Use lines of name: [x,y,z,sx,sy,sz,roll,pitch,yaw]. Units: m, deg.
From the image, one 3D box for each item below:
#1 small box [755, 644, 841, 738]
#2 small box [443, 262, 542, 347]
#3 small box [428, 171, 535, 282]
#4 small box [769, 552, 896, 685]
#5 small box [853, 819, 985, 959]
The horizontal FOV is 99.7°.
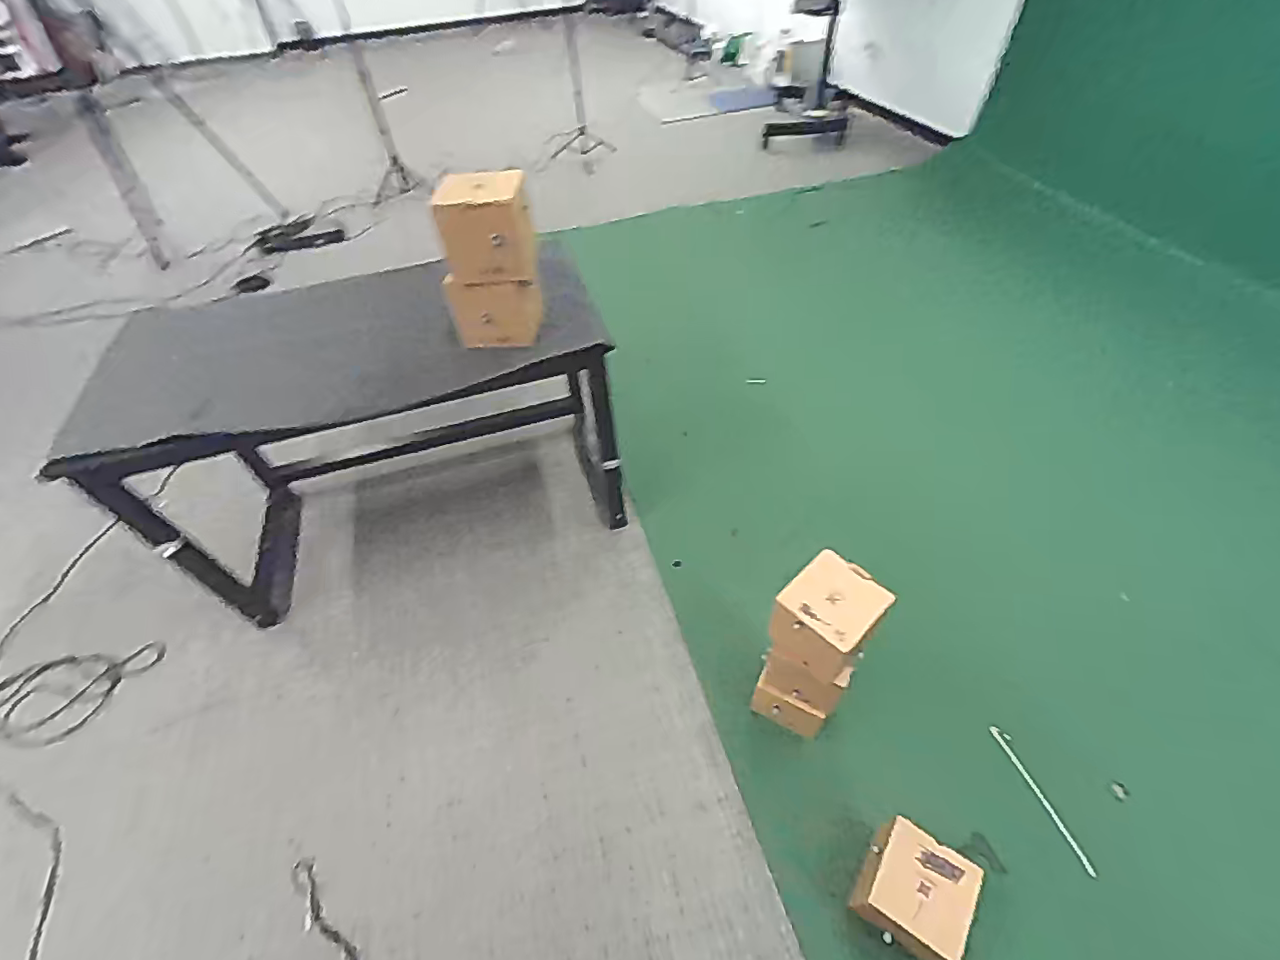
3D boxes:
small box: [0.398,0.519,1.367,0.168,0.176,0.179,21,53,21]
small box: [-0.337,-0.428,1.277,0.168,0.176,0.179,0,47,5]
small box: [-0.327,-0.534,1.153,0.168,0.176,0.179,-3,46,1]
small box: [0.391,0.291,1.132,0.179,0.176,0.168,-34,58,-23]
small box: [0.548,0.826,1.082,0.168,0.176,0.179,27,57,25]
